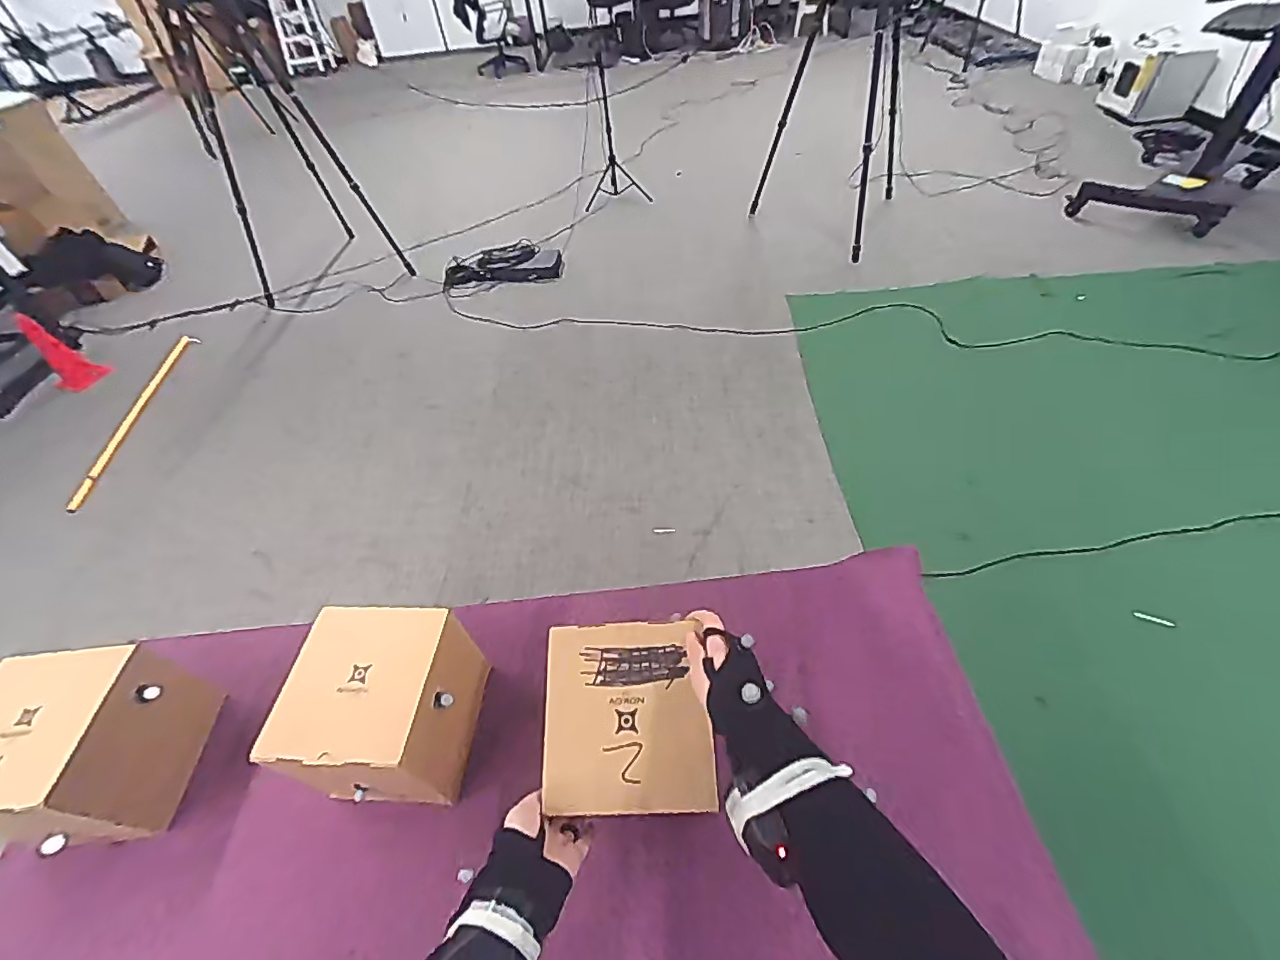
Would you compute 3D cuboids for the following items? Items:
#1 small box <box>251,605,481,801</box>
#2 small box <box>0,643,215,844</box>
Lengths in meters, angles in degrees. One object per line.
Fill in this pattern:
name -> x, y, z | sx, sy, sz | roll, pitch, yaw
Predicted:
small box -> -0.310, 0.272, 0.663 | 0.168, 0.176, 0.179 | -1, 50, 7
small box -> -0.675, 0.321, 0.659 | 0.168, 0.176, 0.179 | -6, 48, 2
